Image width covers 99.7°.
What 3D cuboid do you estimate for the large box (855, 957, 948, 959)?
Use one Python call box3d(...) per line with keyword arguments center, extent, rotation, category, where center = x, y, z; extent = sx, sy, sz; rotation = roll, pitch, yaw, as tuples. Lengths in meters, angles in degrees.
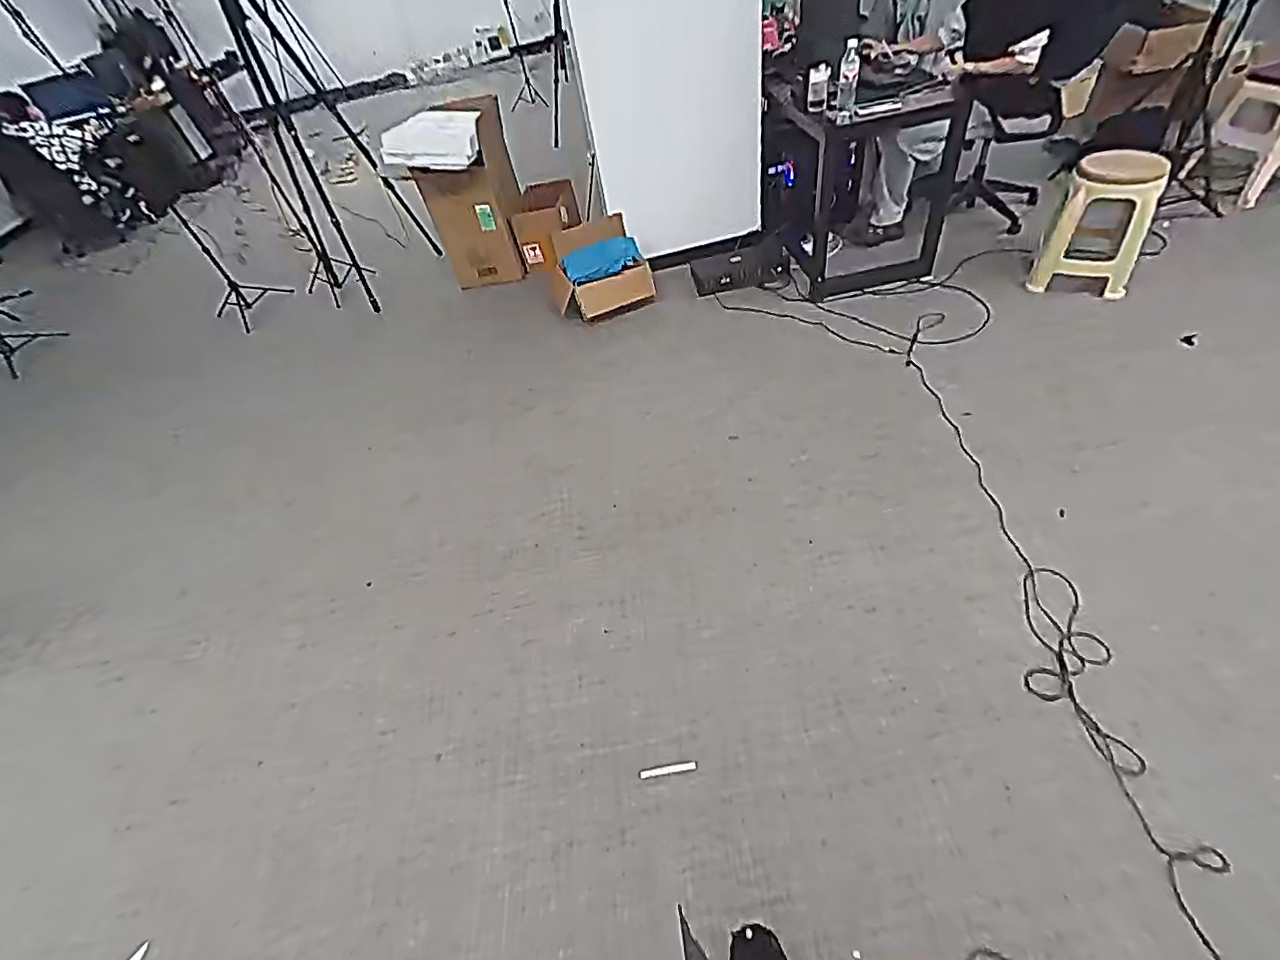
box3d(center=(0.437, 0.783, 0.546), extent=(0.320, 0.408, 0.320), rotation=(-2, 73, 8), category="large box")
